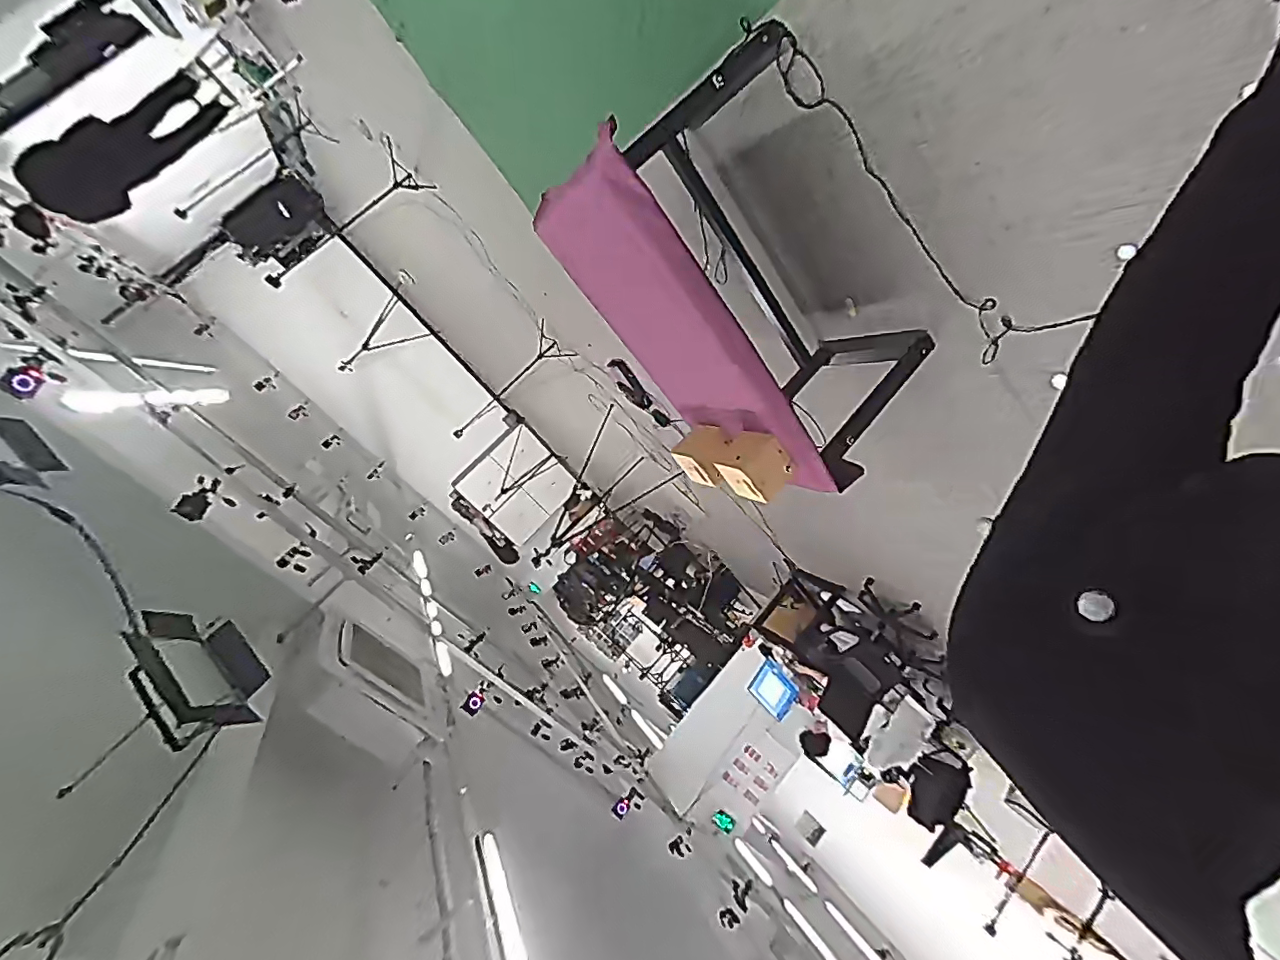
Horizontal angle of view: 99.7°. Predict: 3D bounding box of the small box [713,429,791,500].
[{"bbox_3d":[0.392,-0.058,1.852,0.168,0.176,0.179,49,167,-25],"label":"small box"}]
